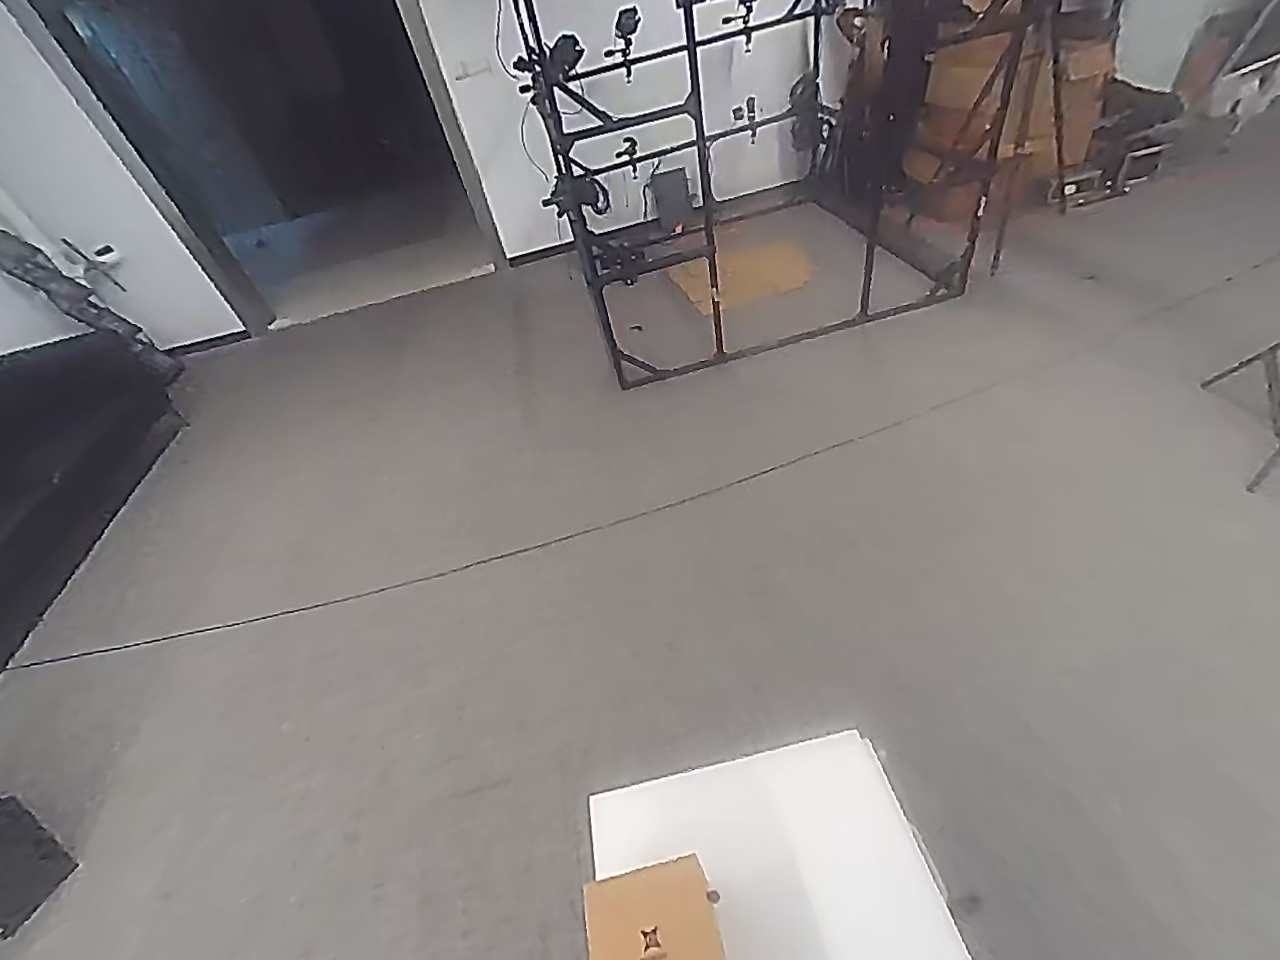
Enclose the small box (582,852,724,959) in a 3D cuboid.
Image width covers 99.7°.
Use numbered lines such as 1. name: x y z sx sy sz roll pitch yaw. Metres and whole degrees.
1. small box: 0.025 0.653 0.745 0.168 0.176 0.179 -15 42 0
